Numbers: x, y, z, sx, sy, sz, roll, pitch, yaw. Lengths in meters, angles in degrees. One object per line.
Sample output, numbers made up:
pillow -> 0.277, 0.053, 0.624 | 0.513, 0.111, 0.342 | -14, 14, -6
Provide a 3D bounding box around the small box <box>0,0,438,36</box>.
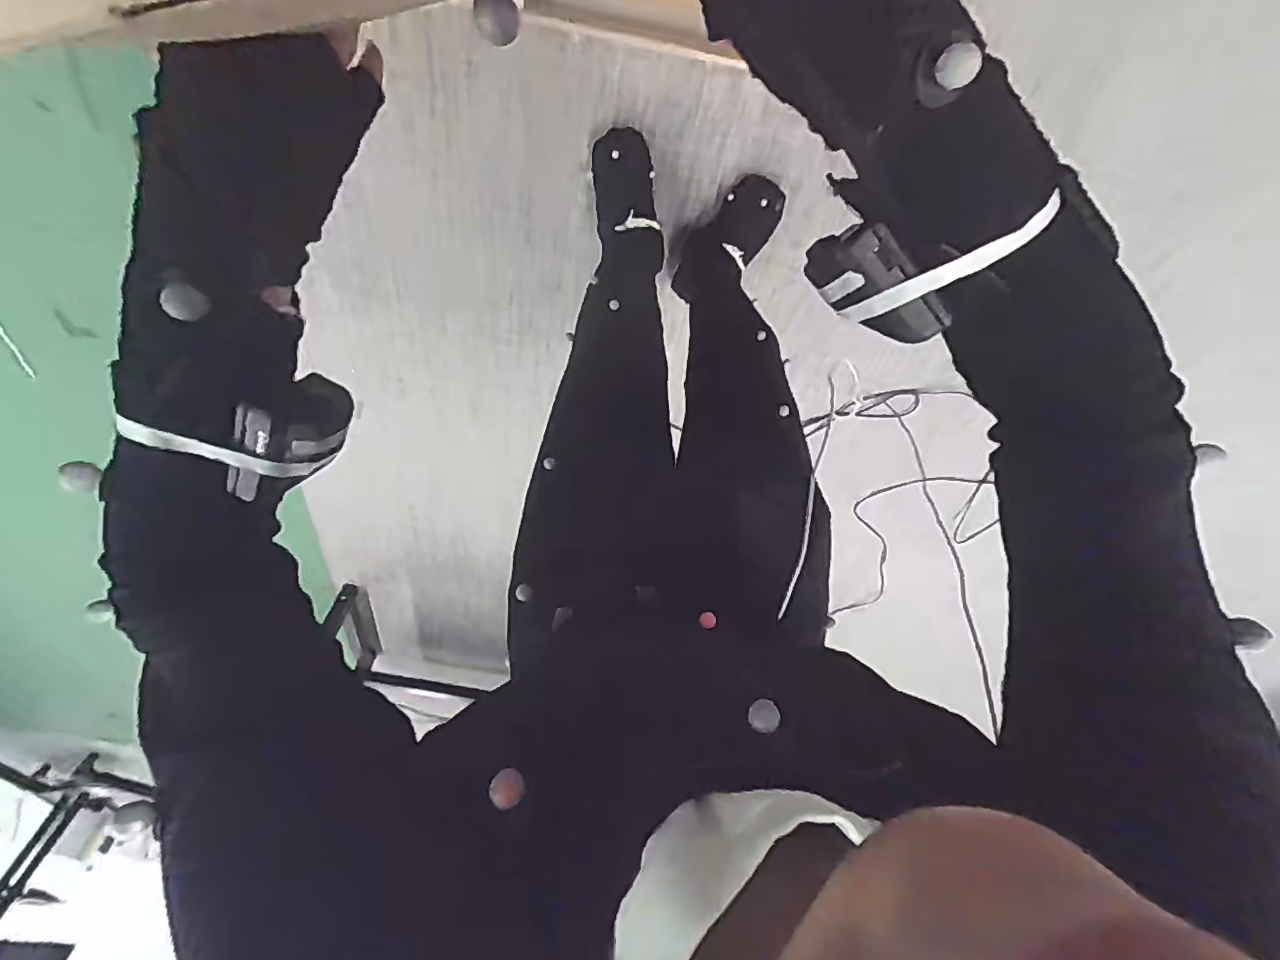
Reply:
small box -> -0.056, -0.205, 0.092 | 0.168, 0.176, 0.179 | -10, 132, 4
